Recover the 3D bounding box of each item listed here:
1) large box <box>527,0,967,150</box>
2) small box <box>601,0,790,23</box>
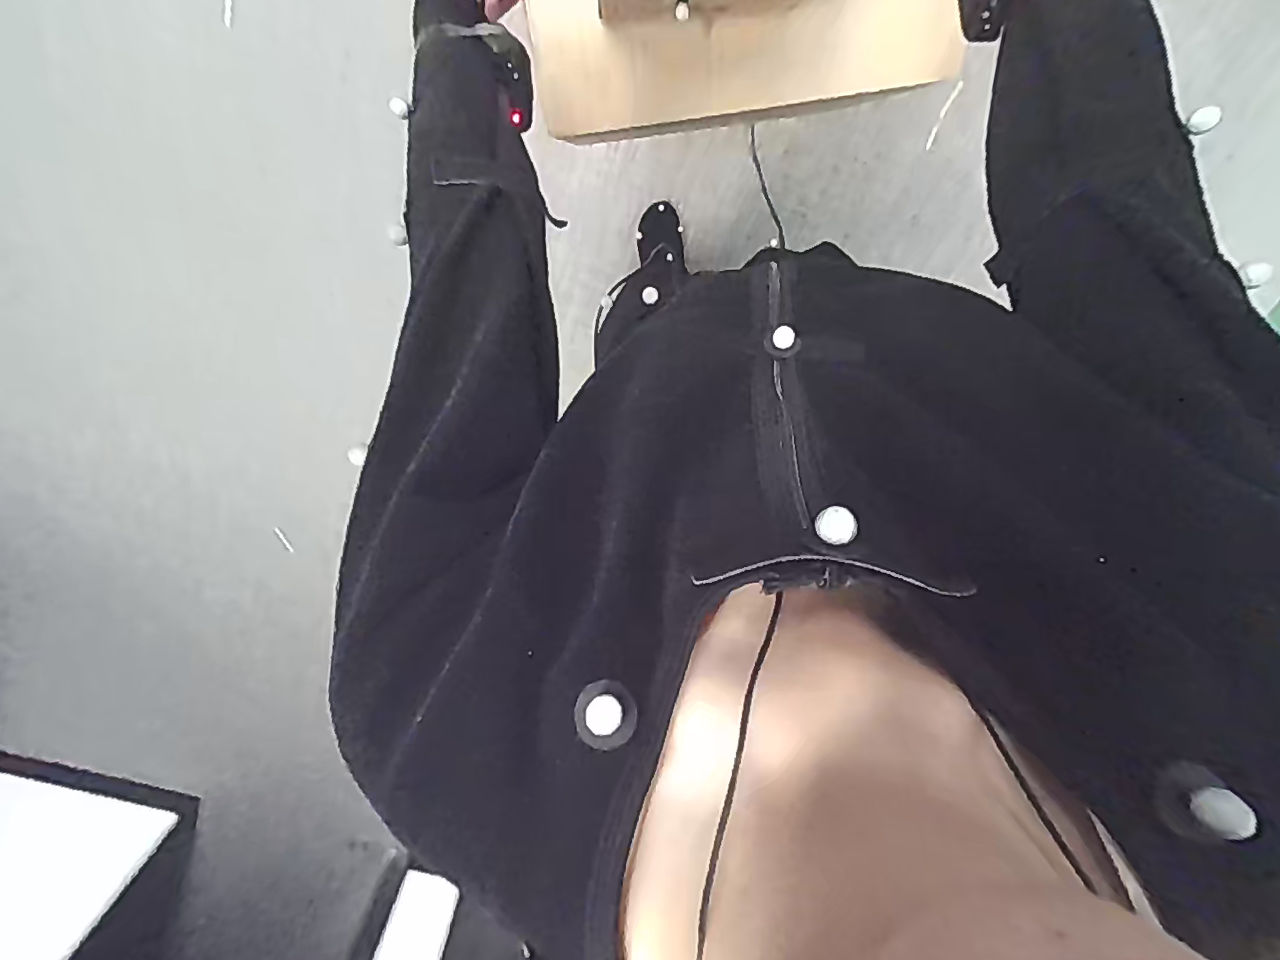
[{"bbox_3d":[0.083,-0.565,0.579,0.408,0.320,0.320,-7,121,2],"label":"large box"},{"bbox_3d":[0.043,-0.443,0.367,0.168,0.176,0.179,-3,121,0],"label":"small box"}]
